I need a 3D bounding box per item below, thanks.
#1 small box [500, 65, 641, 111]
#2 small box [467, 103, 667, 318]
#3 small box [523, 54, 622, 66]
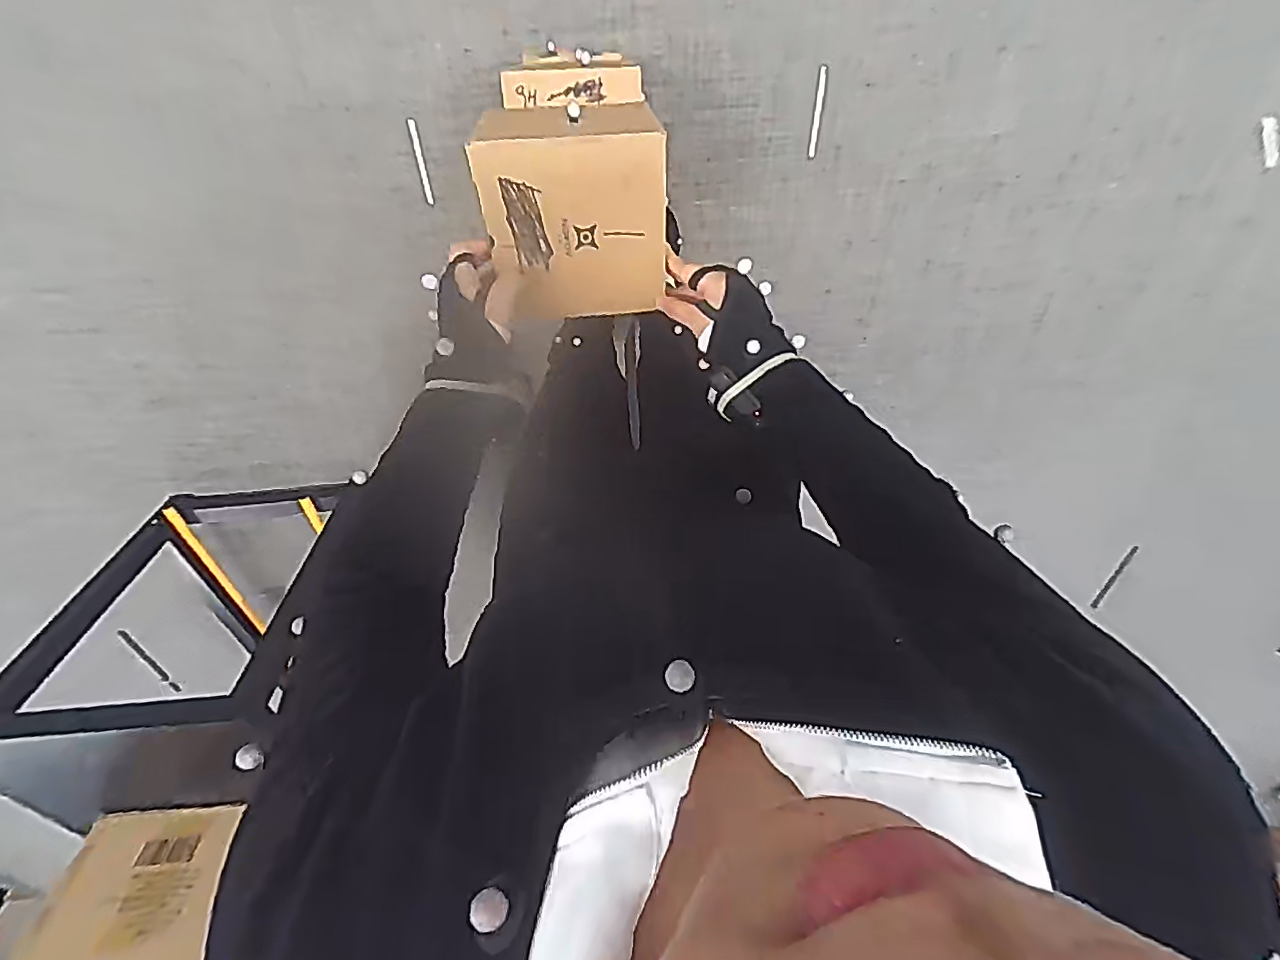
[{"bbox_3d":[-0.083,-0.451,0.737,0.168,0.176,0.179,-3,129,-2],"label":"small box"},{"bbox_3d":[-0.068,-0.290,0.577,0.179,0.176,0.168,-5,133,-4],"label":"small box"},{"bbox_3d":[-0.113,-0.664,0.987,0.168,0.176,0.179,-4,130,-1],"label":"small box"}]
